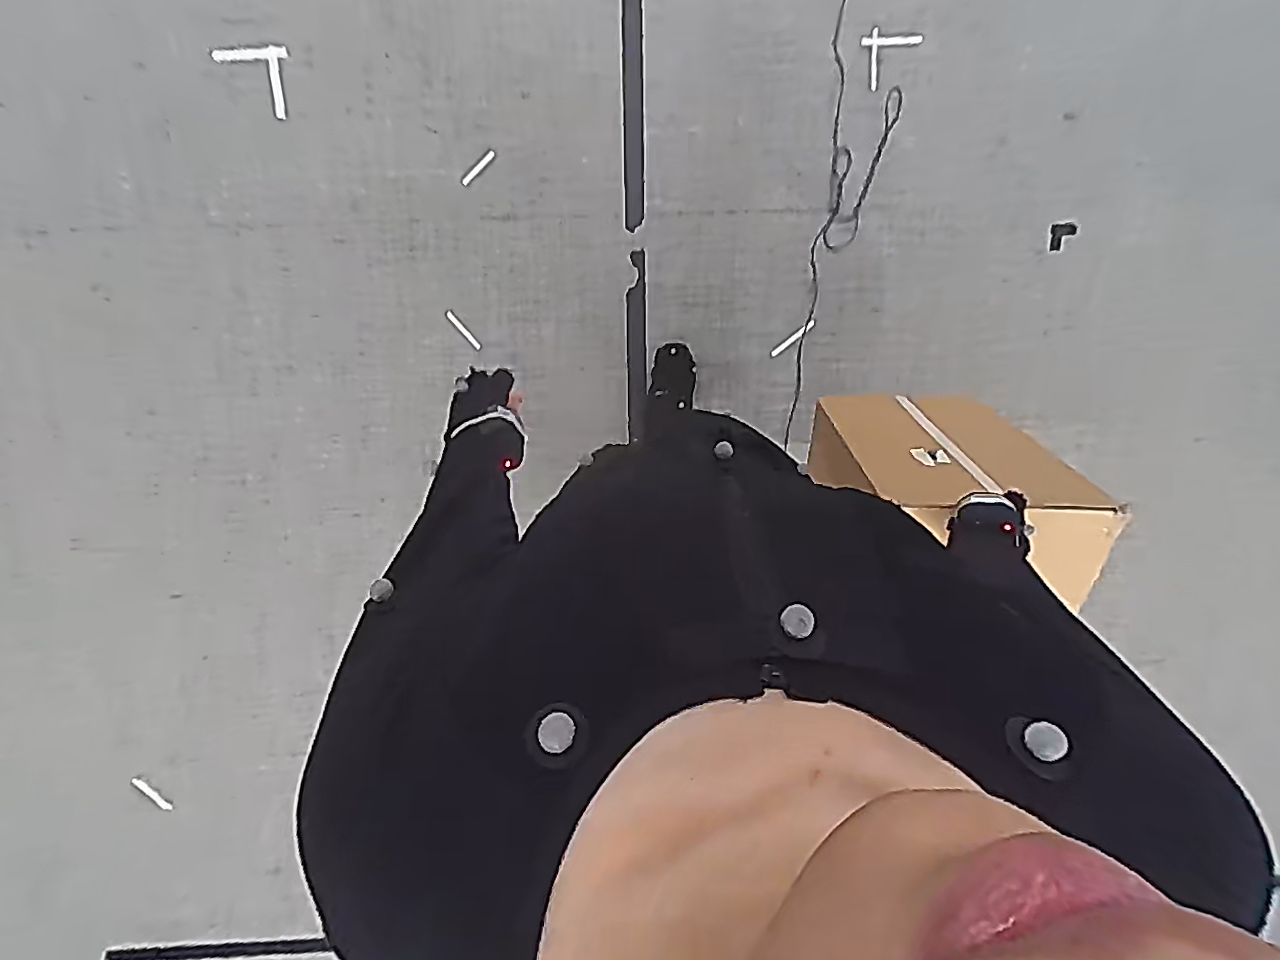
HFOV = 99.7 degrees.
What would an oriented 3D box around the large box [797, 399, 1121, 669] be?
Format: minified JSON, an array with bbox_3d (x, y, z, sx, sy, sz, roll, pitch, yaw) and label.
[{"bbox_3d":[0.497,0.074,0.969,0.320,0.408,0.320,0,120,2],"label":"large box"}]
